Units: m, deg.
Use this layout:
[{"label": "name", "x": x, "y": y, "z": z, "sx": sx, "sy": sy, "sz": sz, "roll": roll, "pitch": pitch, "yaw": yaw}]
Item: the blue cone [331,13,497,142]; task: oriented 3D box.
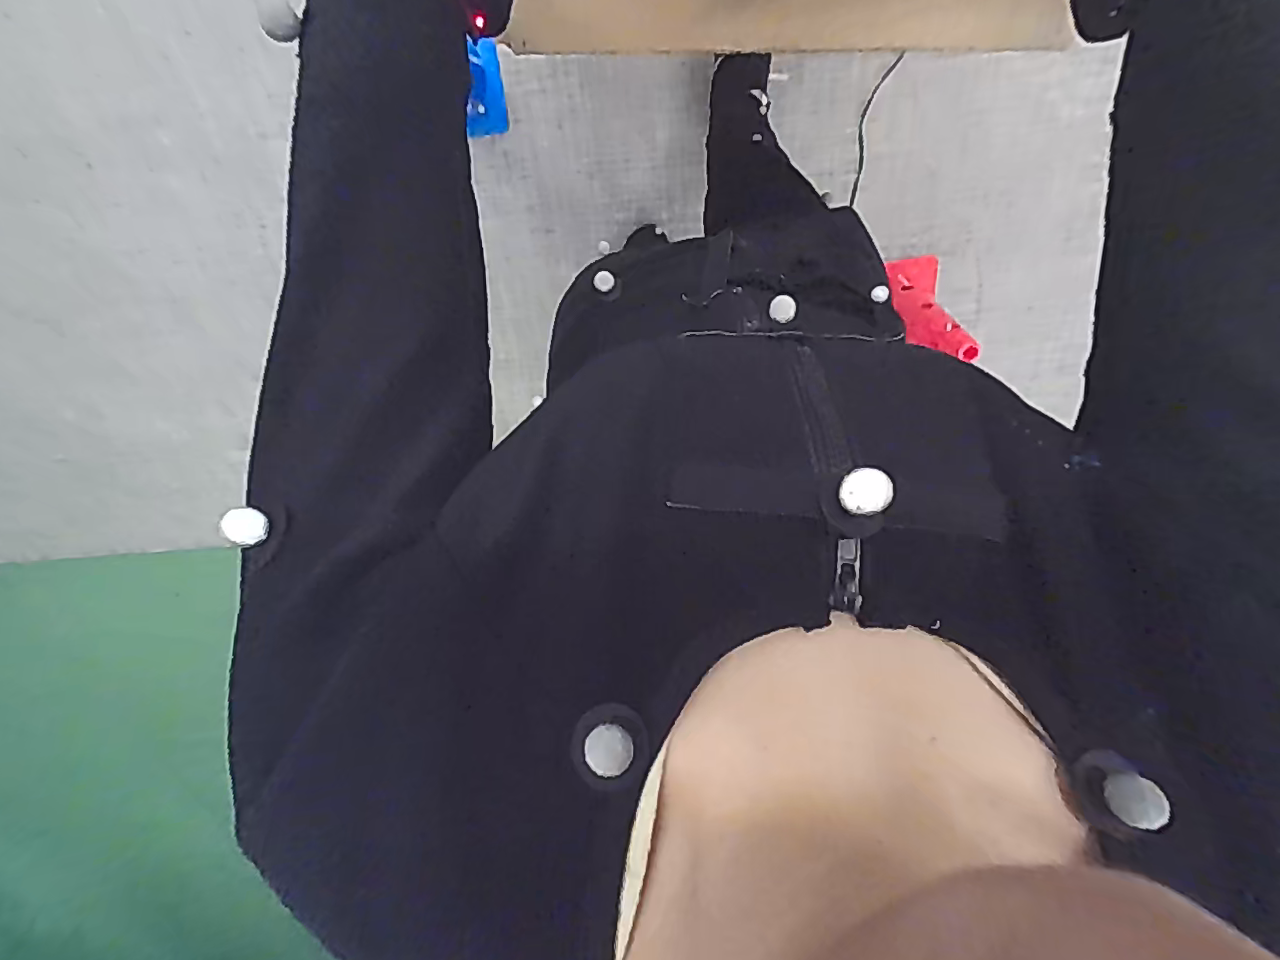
[{"label": "blue cone", "x": -0.376, "y": -0.678, "z": 0.876, "sx": 0.192, "sy": 0.380, "sz": 0.193, "roll": -3, "pitch": 118, "yaw": 3}]
